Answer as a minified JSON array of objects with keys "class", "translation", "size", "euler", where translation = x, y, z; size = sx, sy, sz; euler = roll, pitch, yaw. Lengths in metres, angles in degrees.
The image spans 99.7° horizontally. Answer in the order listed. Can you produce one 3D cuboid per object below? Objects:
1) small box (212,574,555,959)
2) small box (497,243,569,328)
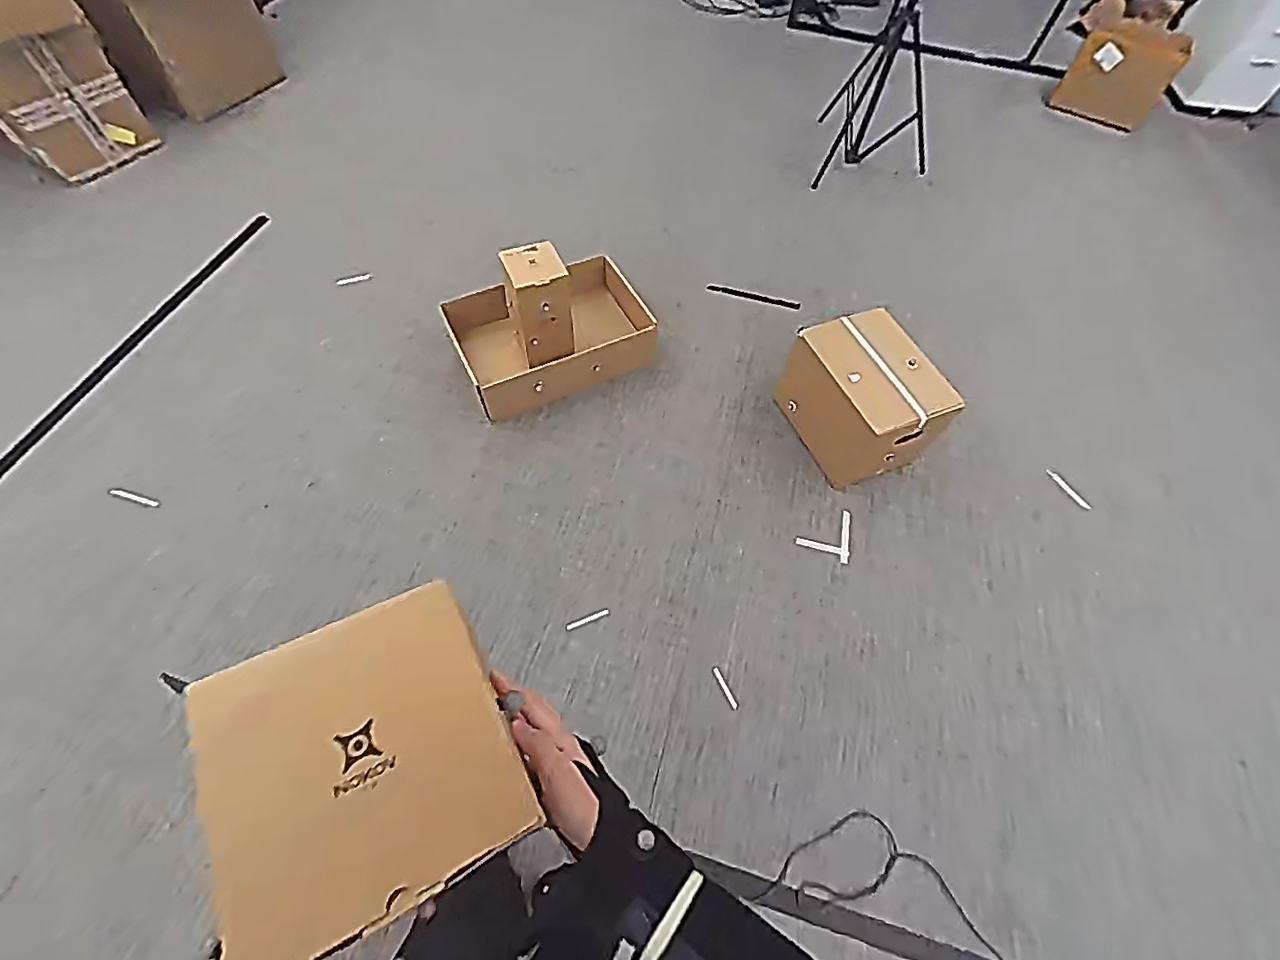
[{"class":"small box","translation":[-0.173,0.204,0.402],"size":[0.168,0.176,0.179],"euler":[-21,64,-20]},{"class":"small box","translation":[-0.324,-0.589,1.661],"size":[0.168,0.176,0.179],"euler":[-20,63,-15]}]
